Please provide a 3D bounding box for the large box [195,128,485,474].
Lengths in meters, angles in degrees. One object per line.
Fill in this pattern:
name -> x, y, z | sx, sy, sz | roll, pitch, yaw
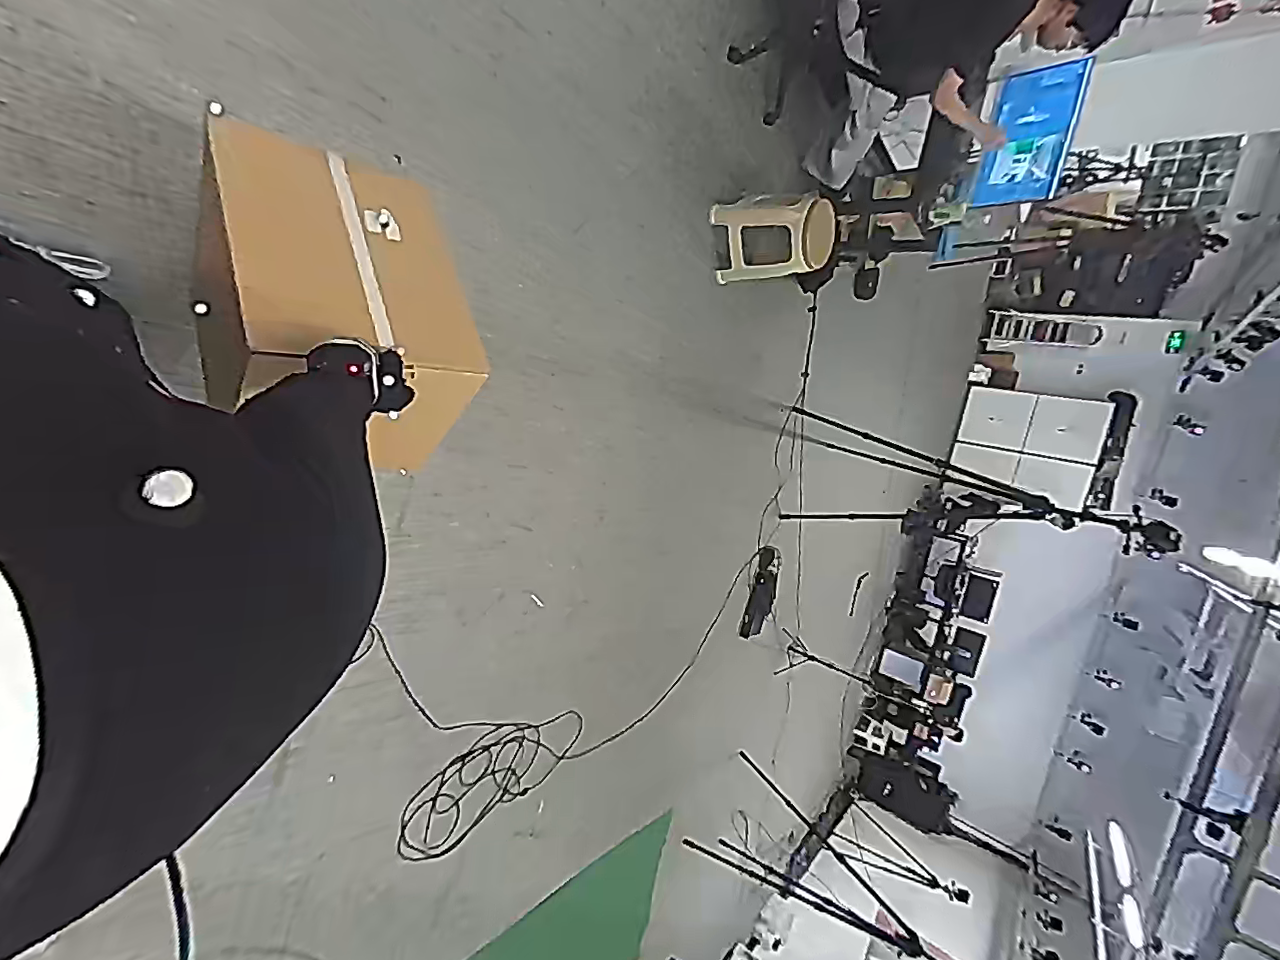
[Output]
large box -> -0.513, -0.260, 0.900 | 0.320, 0.320, 0.408 | -4, 64, -46
